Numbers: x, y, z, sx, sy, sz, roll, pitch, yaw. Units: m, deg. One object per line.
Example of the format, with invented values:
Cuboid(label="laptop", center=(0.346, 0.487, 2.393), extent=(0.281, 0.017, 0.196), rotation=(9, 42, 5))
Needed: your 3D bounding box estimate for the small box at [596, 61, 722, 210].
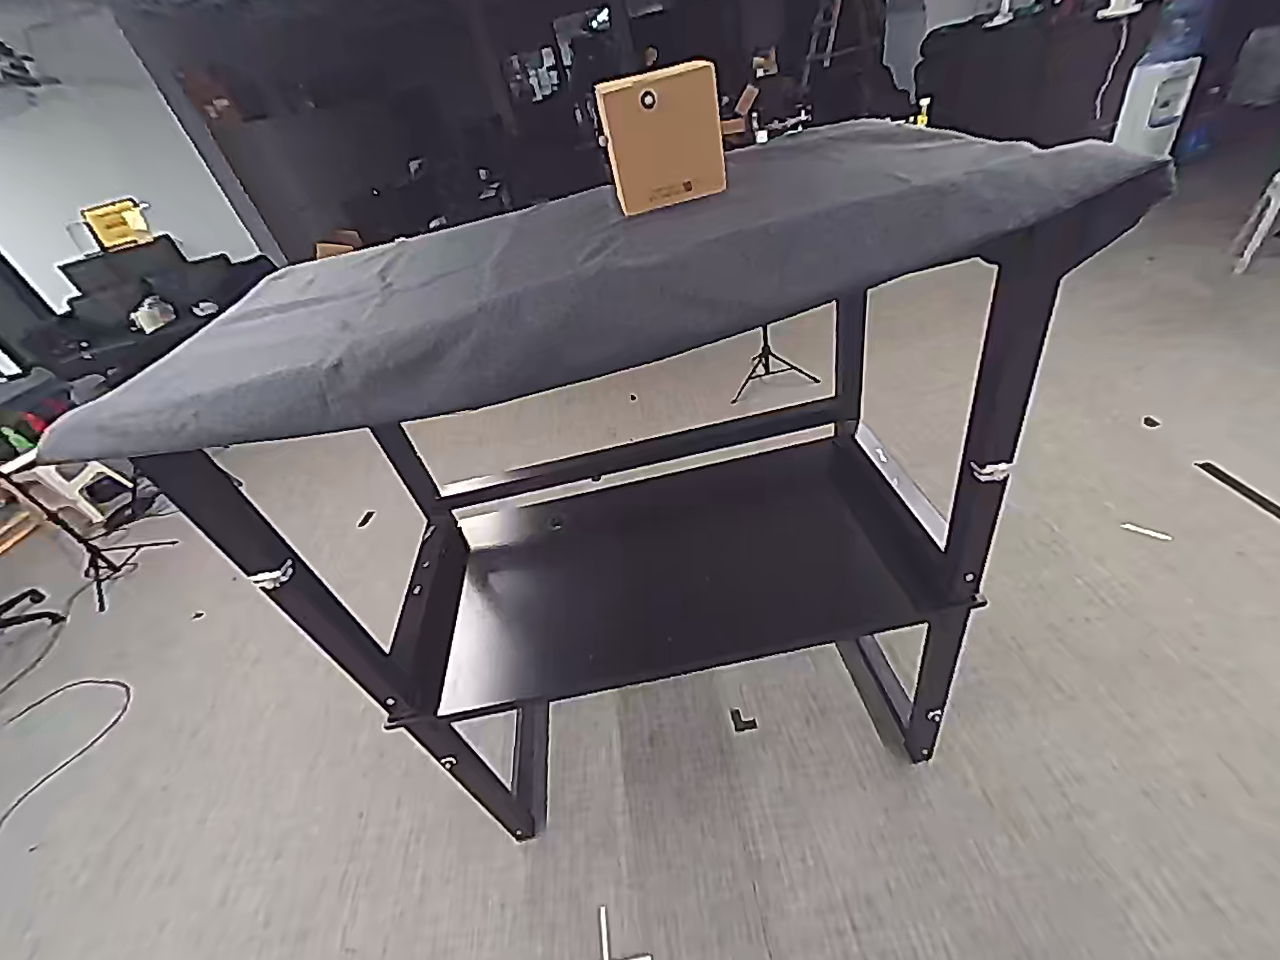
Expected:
Cuboid(label="small box", center=(0.029, -0.555, 0.879), extent=(0.168, 0.176, 0.179), rotation=(-14, 37, 2))
